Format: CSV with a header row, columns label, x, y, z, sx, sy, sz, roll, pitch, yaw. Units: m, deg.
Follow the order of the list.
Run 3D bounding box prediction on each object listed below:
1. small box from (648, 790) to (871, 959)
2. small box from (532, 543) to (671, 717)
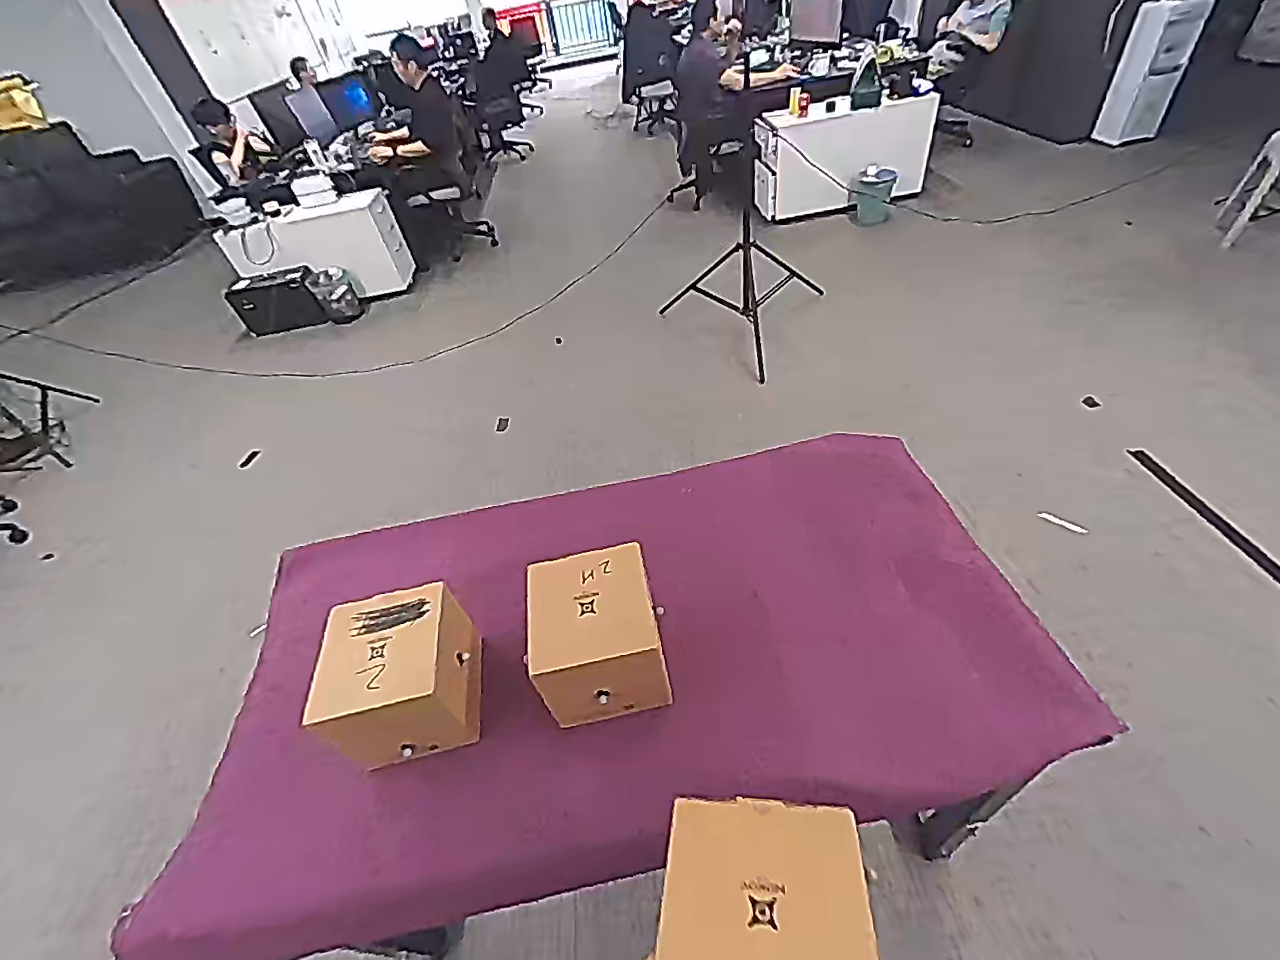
label,x,y,z,sx,sy,sz,roll,pitch,yaw
small box,0.108,0.406,0.467,0.168,0.176,0.179,-4,24,13
small box,-0.054,0.223,0.784,0.168,0.176,0.179,-11,43,-1
